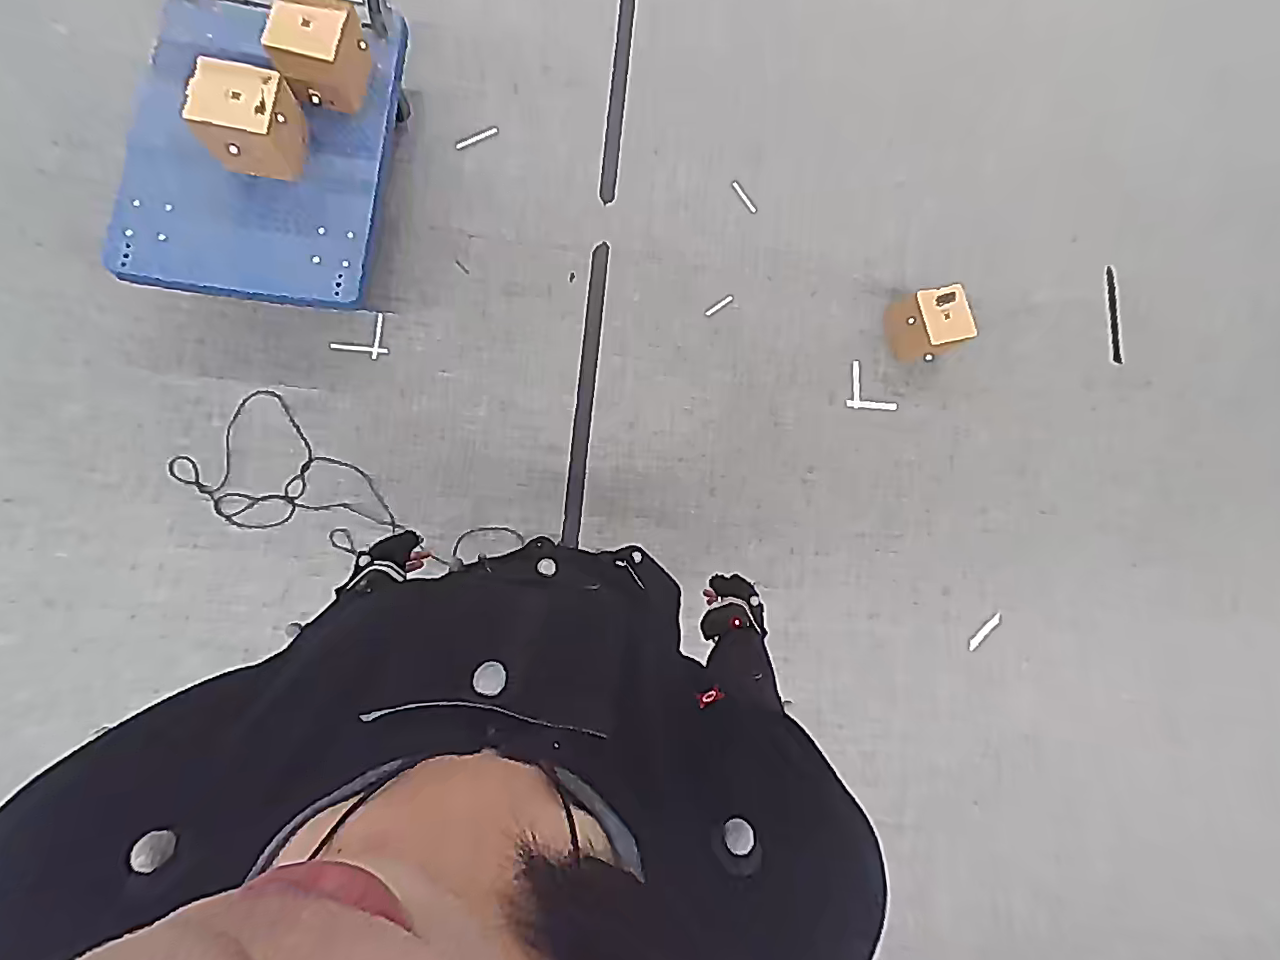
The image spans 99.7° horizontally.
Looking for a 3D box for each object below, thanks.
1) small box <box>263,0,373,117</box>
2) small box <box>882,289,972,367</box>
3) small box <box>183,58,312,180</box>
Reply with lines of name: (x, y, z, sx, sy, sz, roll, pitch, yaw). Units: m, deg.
small box: (-0.794, -1.067, 1.356, 0.168, 0.176, 0.179, 10, 82, -5)
small box: (0.909, -0.484, 1.732, 0.168, 0.176, 0.179, -13, 84, -10)
small box: (-0.933, -0.858, 1.302, 0.179, 0.176, 0.168, 8, 82, -7)
